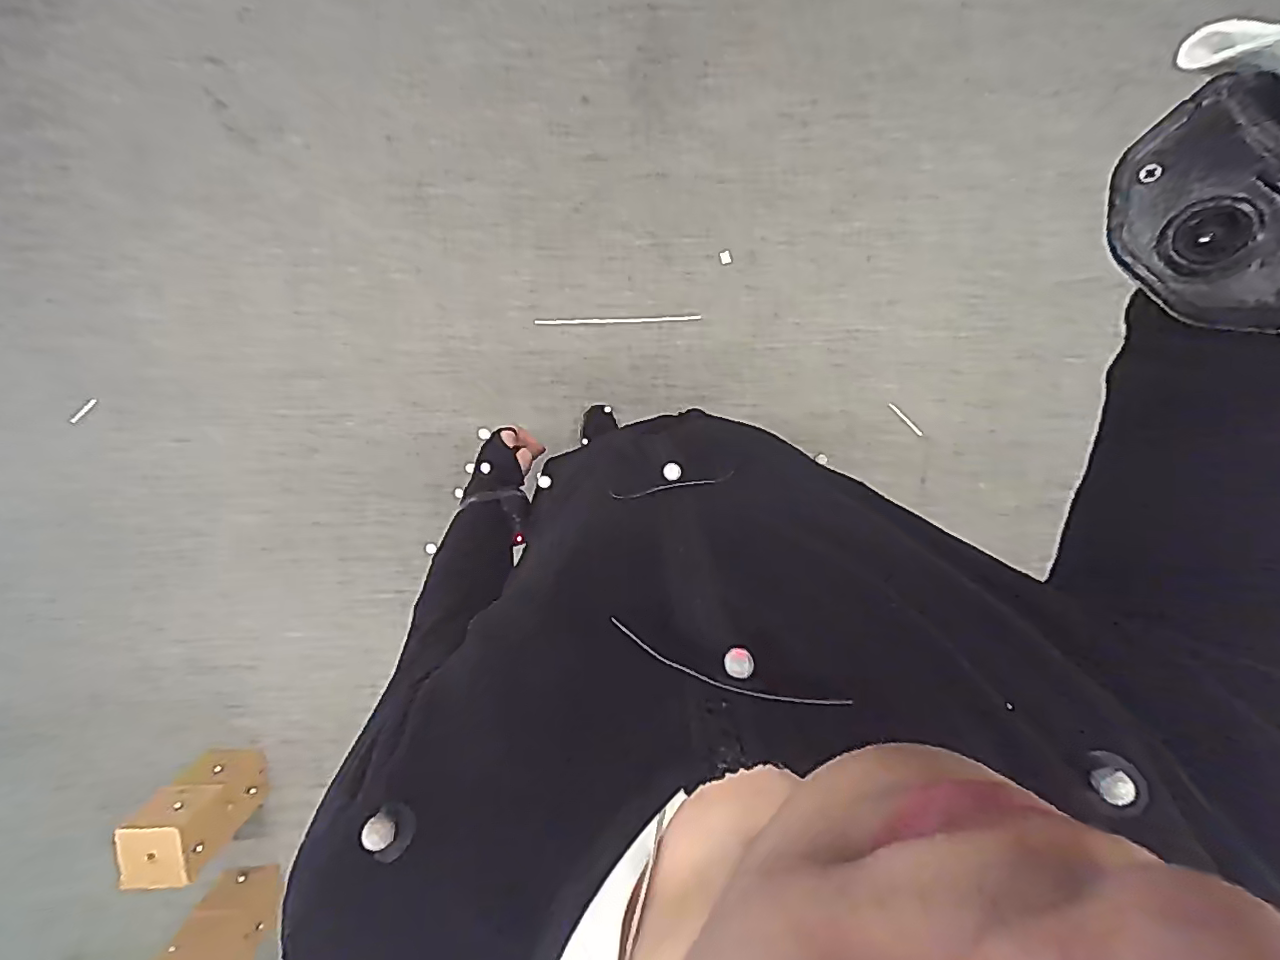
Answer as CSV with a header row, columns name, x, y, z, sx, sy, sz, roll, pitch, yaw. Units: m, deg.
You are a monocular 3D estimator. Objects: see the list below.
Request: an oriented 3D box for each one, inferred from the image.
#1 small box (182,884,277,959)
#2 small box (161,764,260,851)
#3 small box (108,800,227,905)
name,x,y,z,sx,sy,sz,roll,pitch,yaw
small box,-1.247,1.387,1.656,0.168,0.176,0.179,-2,96,-2
small box,-1.268,0.973,1.611,0.179,0.176,0.168,0,95,-2
small box,-1.256,0.987,1.449,0.168,0.176,0.179,-2,97,-2
